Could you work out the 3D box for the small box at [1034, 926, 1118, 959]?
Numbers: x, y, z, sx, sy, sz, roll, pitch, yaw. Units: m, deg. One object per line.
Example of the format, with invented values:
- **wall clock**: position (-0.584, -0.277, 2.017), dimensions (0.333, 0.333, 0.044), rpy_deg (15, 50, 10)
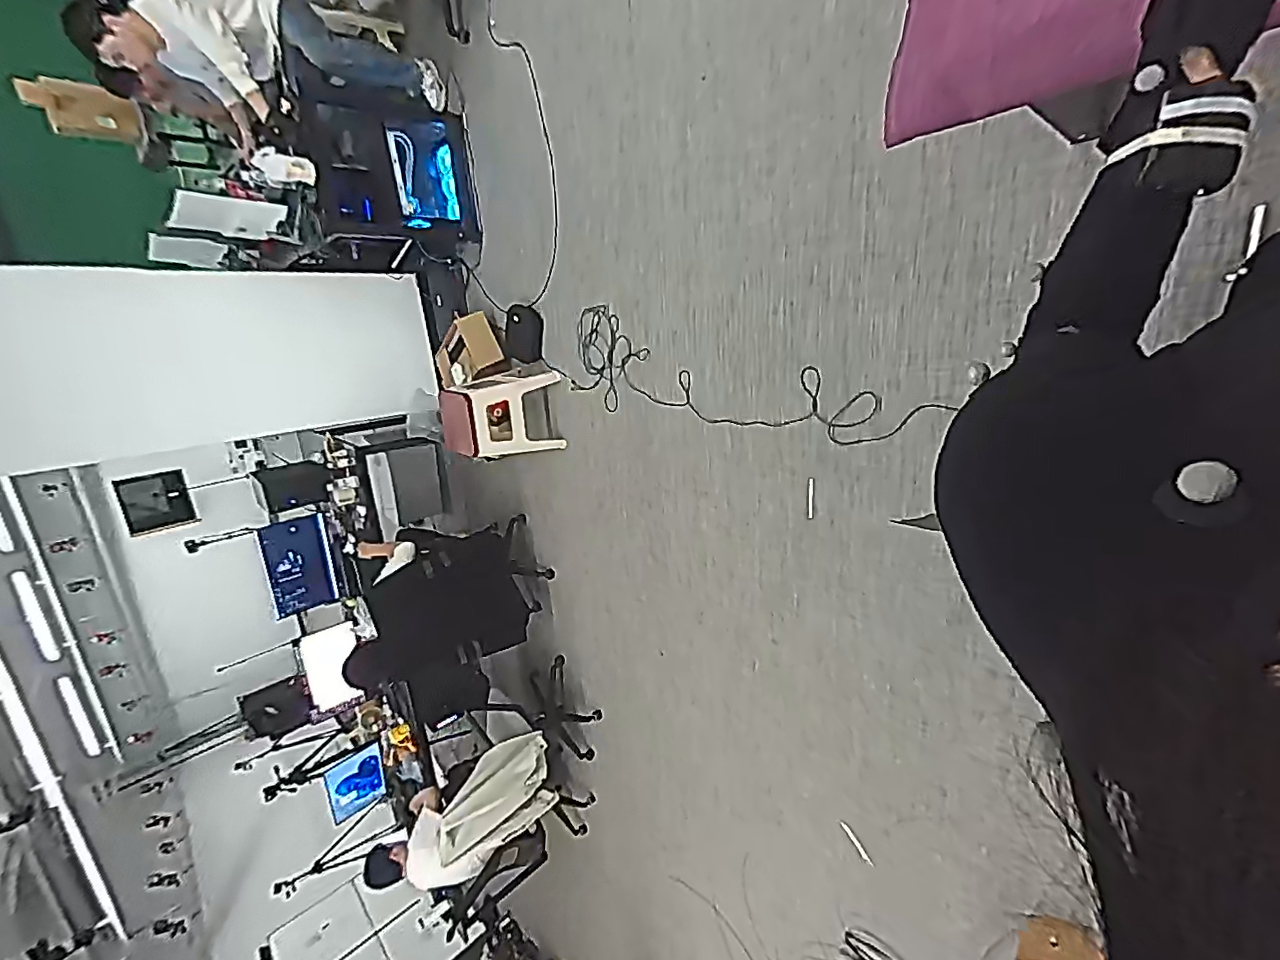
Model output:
- **small box**: position (1.181, 1.353, 1.442), dimensions (0.168, 0.176, 0.179), rpy_deg (-30, 81, 49)
